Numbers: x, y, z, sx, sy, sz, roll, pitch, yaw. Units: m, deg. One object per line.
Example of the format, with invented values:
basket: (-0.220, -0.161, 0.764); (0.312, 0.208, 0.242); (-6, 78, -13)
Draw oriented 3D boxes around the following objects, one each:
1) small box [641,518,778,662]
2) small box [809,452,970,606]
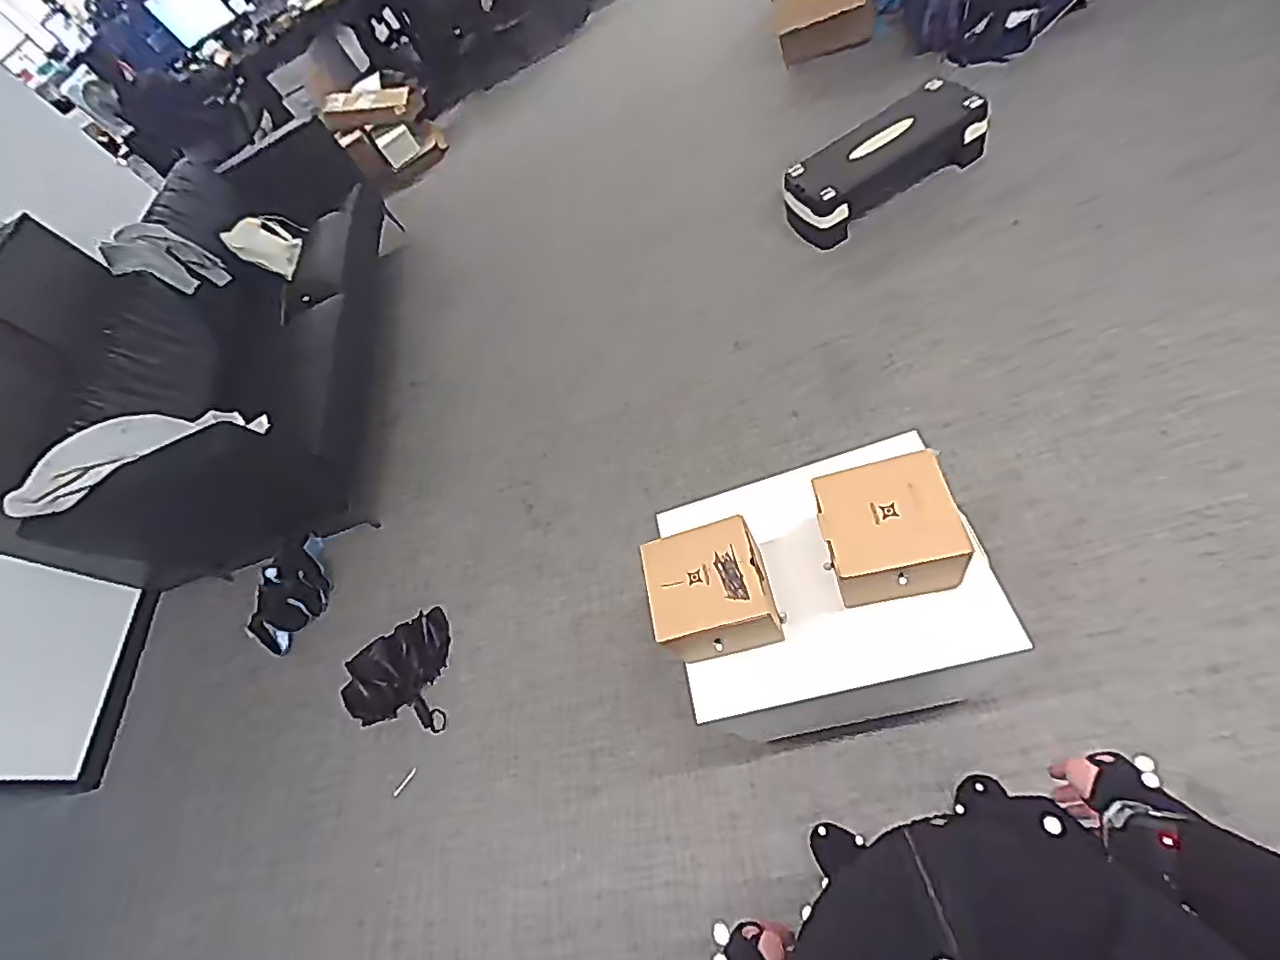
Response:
small box: (0.119, 0.187, 0.889); (0.179, 0.176, 0.168); (-19, 56, 14)
small box: (0.377, 0.085, 0.836); (0.179, 0.176, 0.168); (-15, 59, 15)
